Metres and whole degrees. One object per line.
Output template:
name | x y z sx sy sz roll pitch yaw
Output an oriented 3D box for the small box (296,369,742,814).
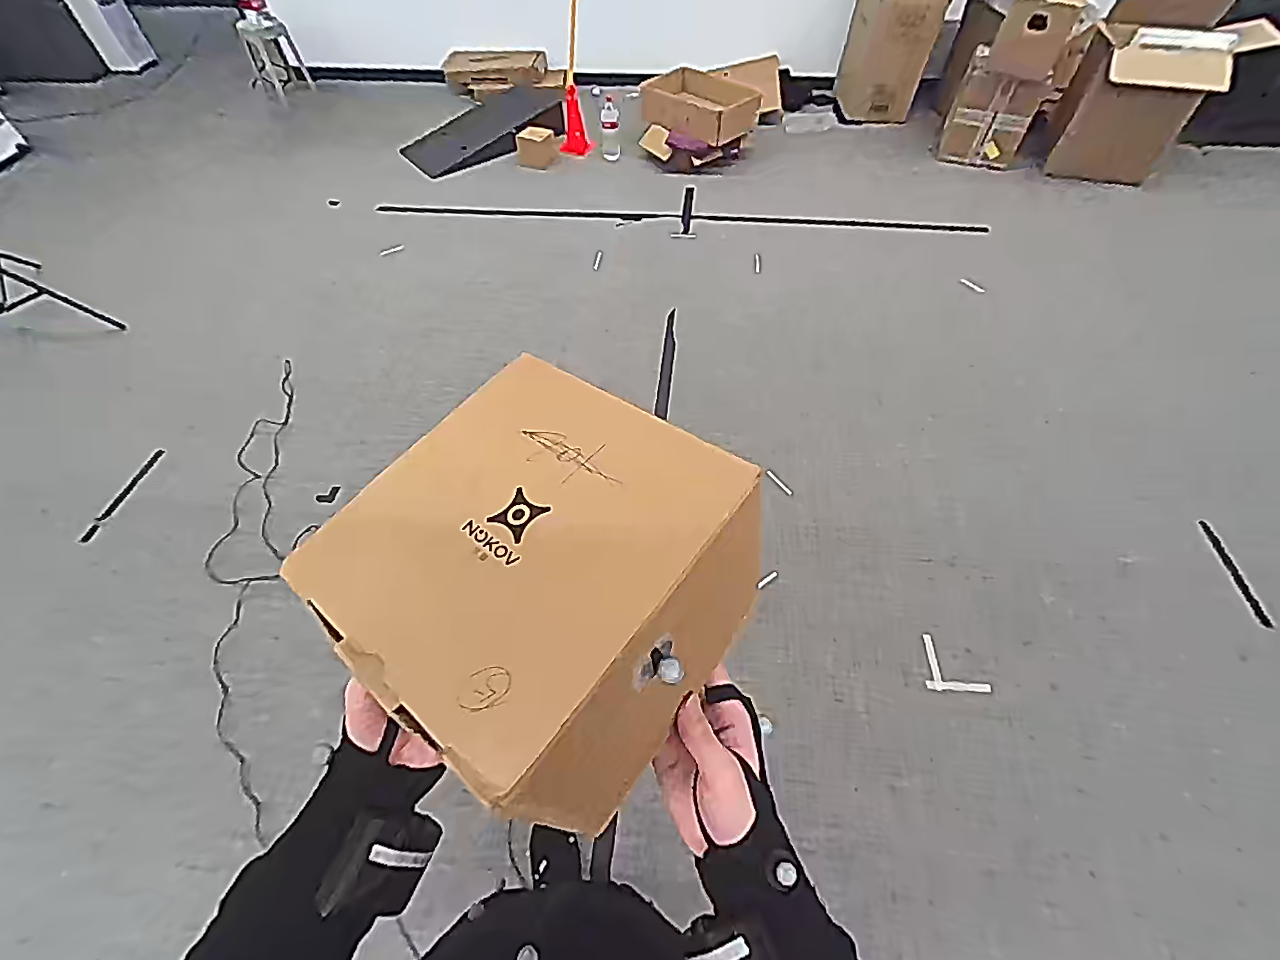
small box | -0.049 0.071 0.332 0.168 0.176 0.179 29 64 27
